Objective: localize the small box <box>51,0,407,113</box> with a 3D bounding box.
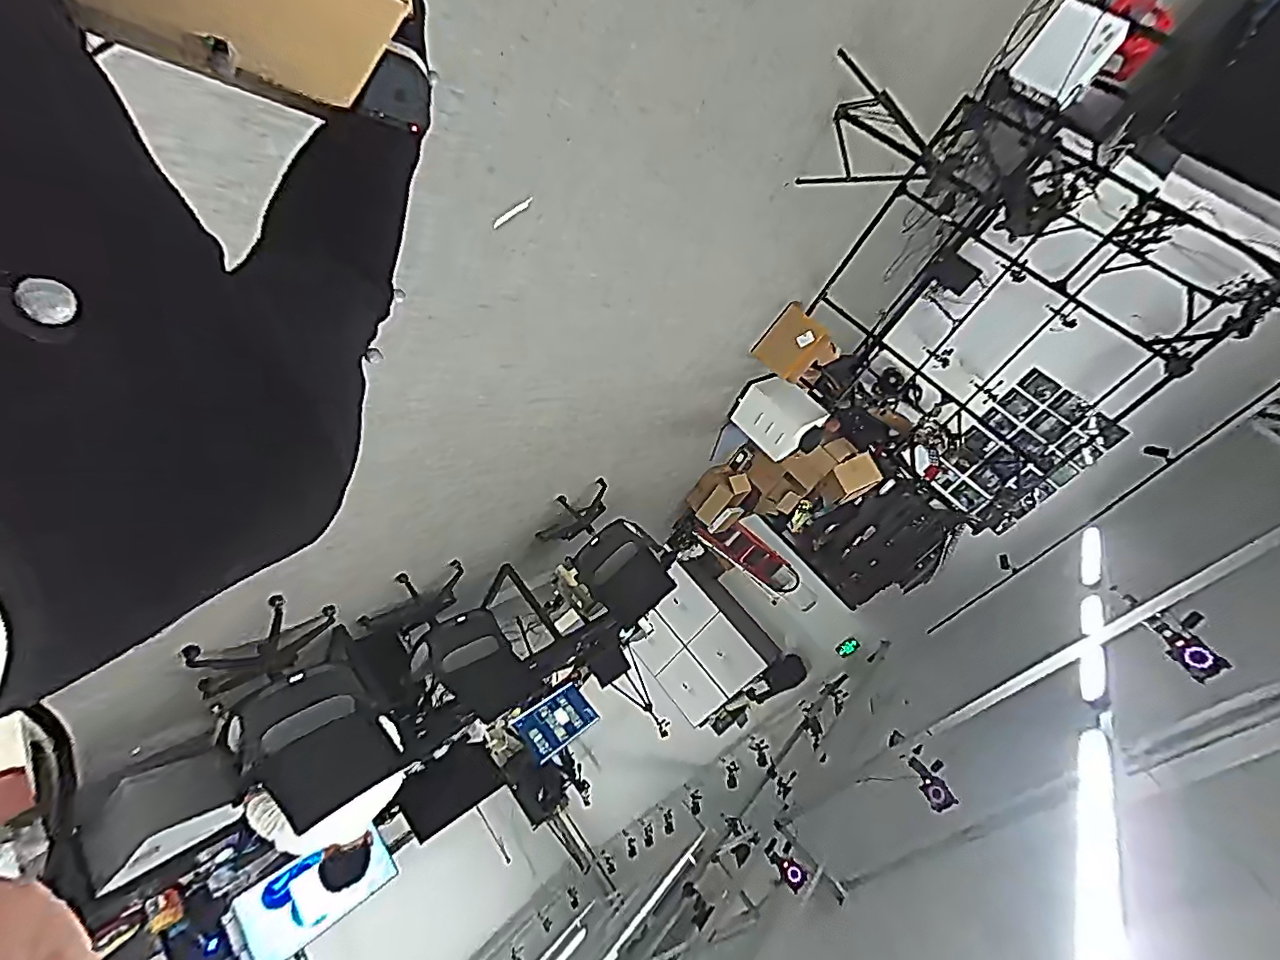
[{"bbox_3d":[-0.277,-0.387,0.360,0.179,0.168,0.176,-4,-177,-43],"label":"small box"}]
